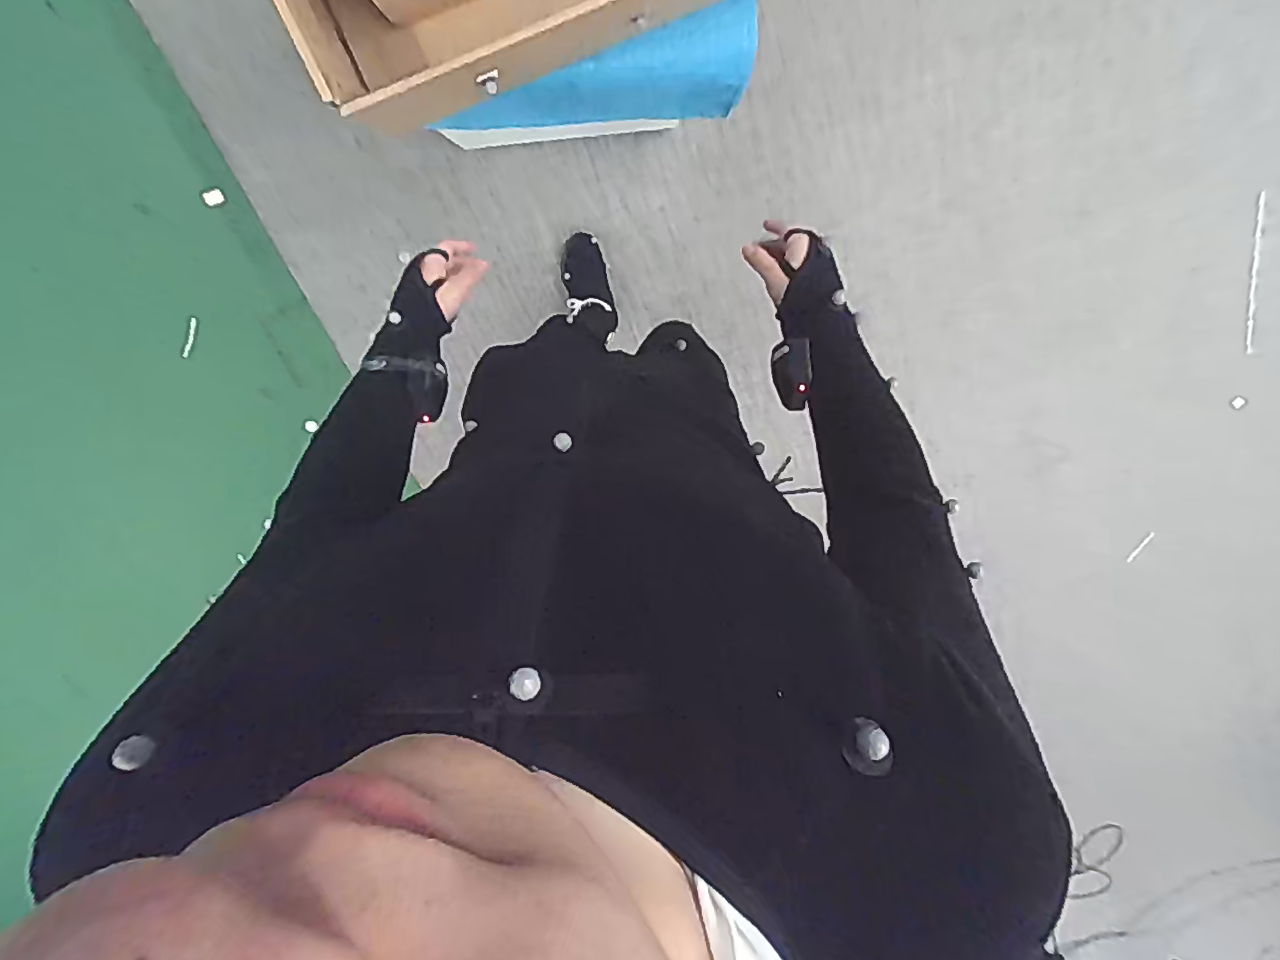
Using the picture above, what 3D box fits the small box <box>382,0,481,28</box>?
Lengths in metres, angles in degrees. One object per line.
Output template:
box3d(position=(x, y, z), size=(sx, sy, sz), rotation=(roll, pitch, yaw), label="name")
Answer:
box3d(position=(-0.257, -0.653, 0.589), size=(0.168, 0.176, 0.179), rotation=(-20, 112, 5), label="small box")
